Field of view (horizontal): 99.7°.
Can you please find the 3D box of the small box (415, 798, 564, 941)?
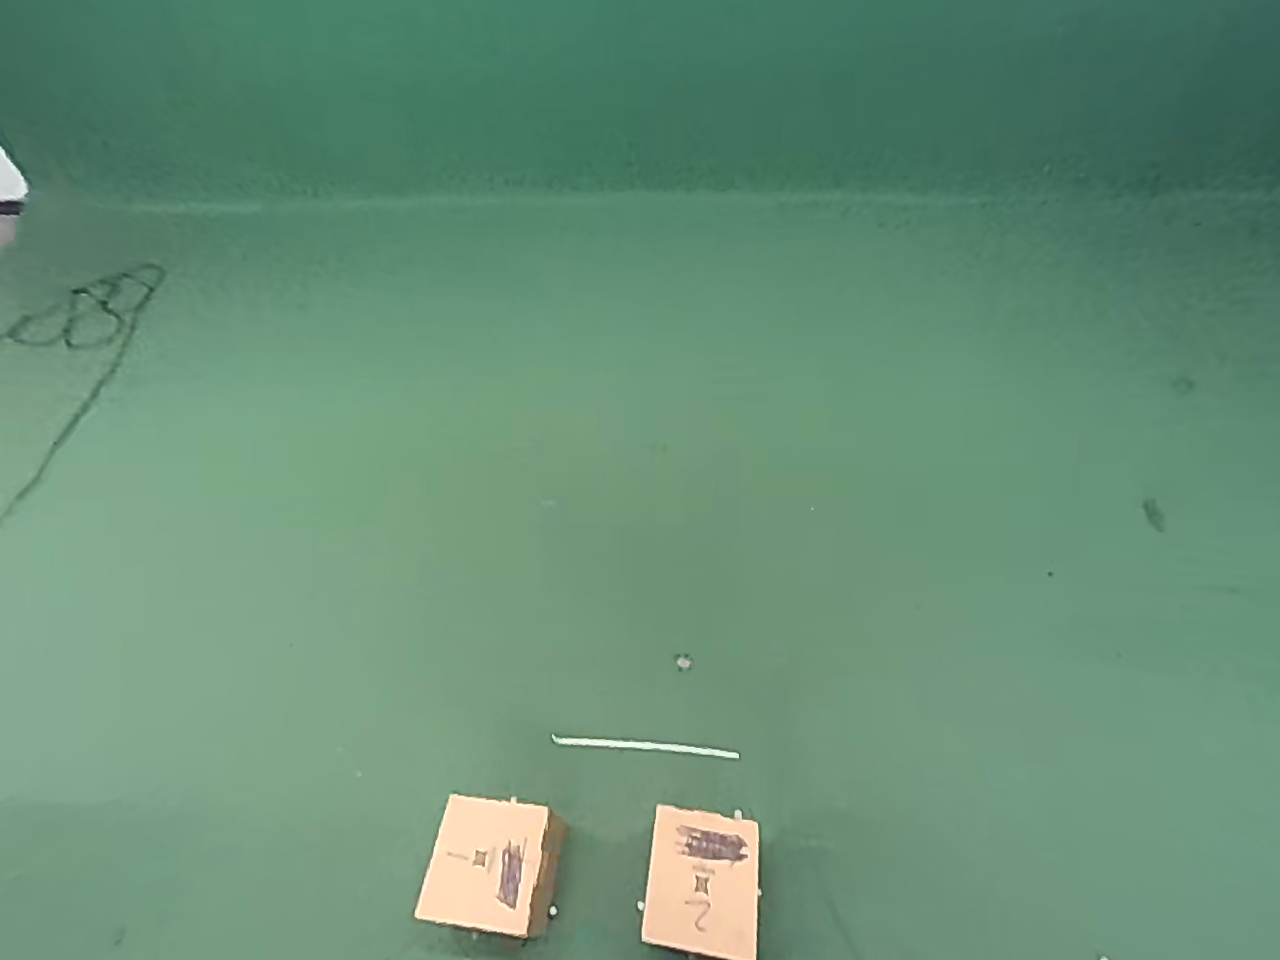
[{"bbox_3d":[-0.237,0.653,0.909,0.179,0.176,0.168,3,50,8],"label":"small box"}]
